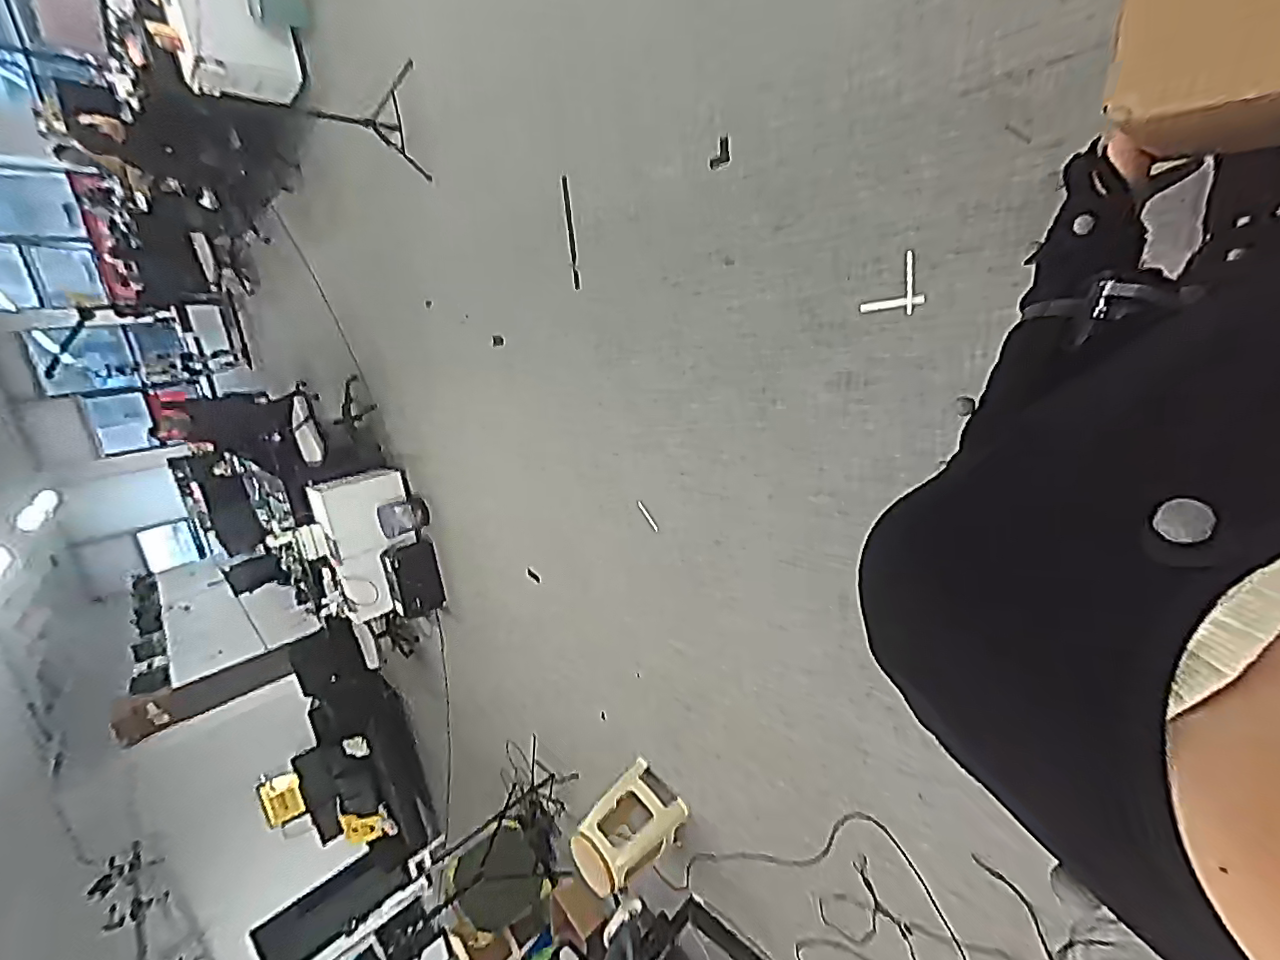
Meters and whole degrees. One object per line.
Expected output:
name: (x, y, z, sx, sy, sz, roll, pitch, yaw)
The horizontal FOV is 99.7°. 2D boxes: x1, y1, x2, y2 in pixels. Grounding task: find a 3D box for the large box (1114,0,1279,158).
large box: (0.432, -0.319, 0.153, 0.408, 0.320, 0.320, 13, 119, 41)
